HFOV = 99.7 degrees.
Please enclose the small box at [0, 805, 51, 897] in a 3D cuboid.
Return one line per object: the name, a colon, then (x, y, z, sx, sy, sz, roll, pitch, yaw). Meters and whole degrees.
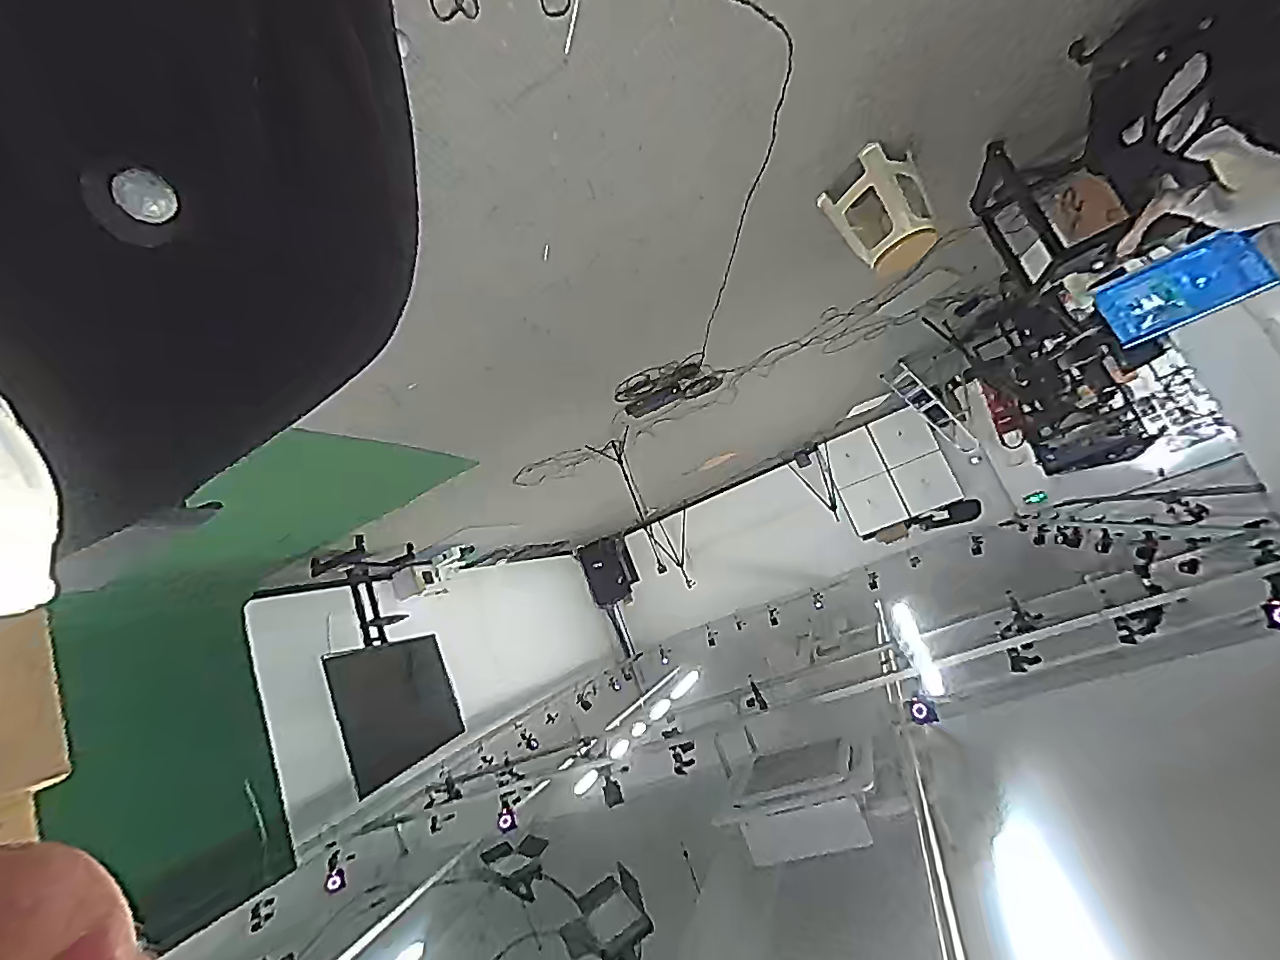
small box: (-1.491, 0.865, 1.211, 0.179, 0.176, 0.168, -29, 167, 14)
